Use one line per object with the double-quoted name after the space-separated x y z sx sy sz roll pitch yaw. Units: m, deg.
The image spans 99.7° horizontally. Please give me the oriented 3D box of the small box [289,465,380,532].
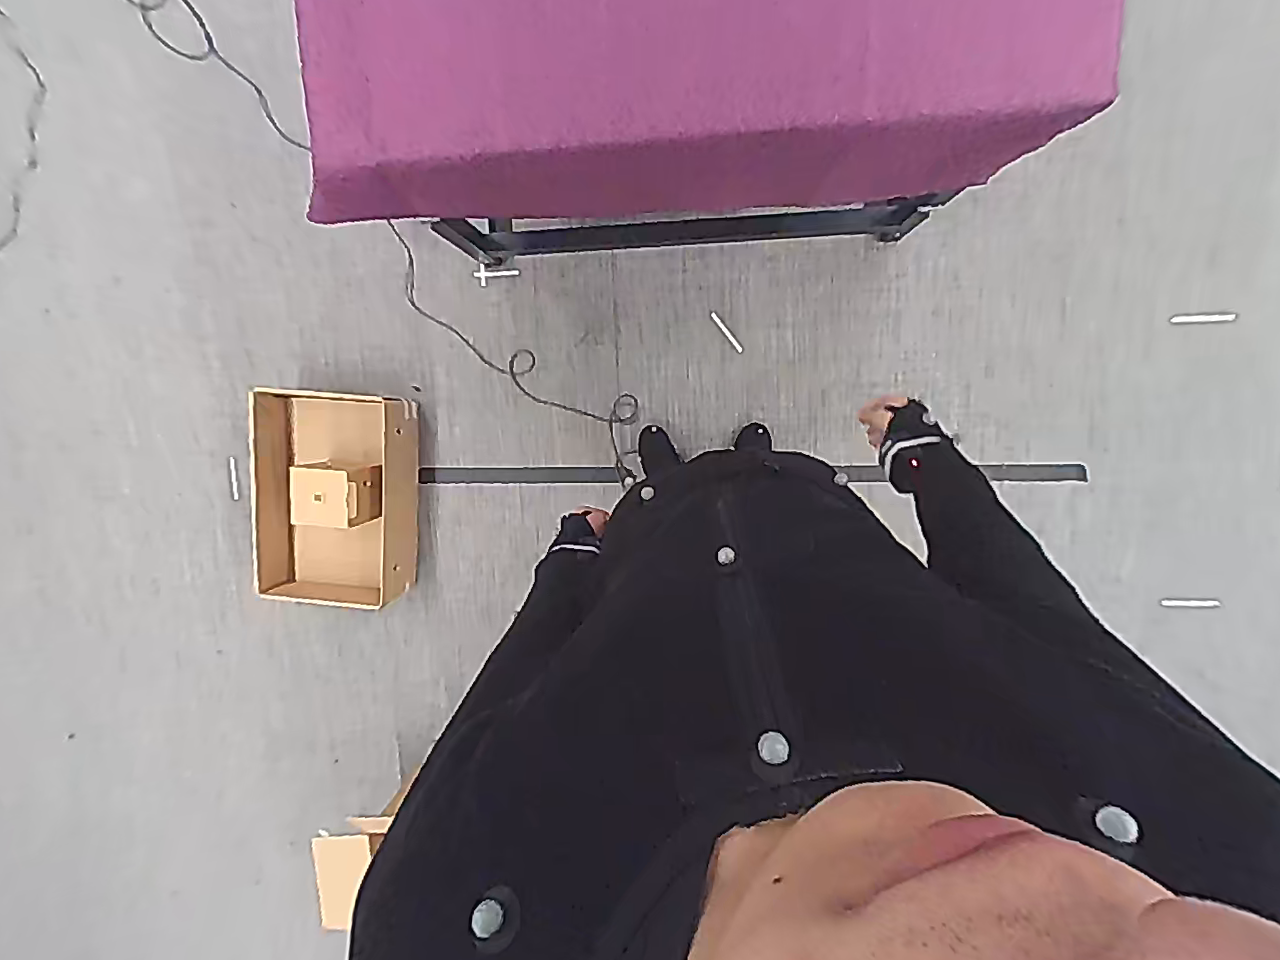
-0.887 0.048 1.584 0.179 0.176 0.168 5 97 4 "small box"
